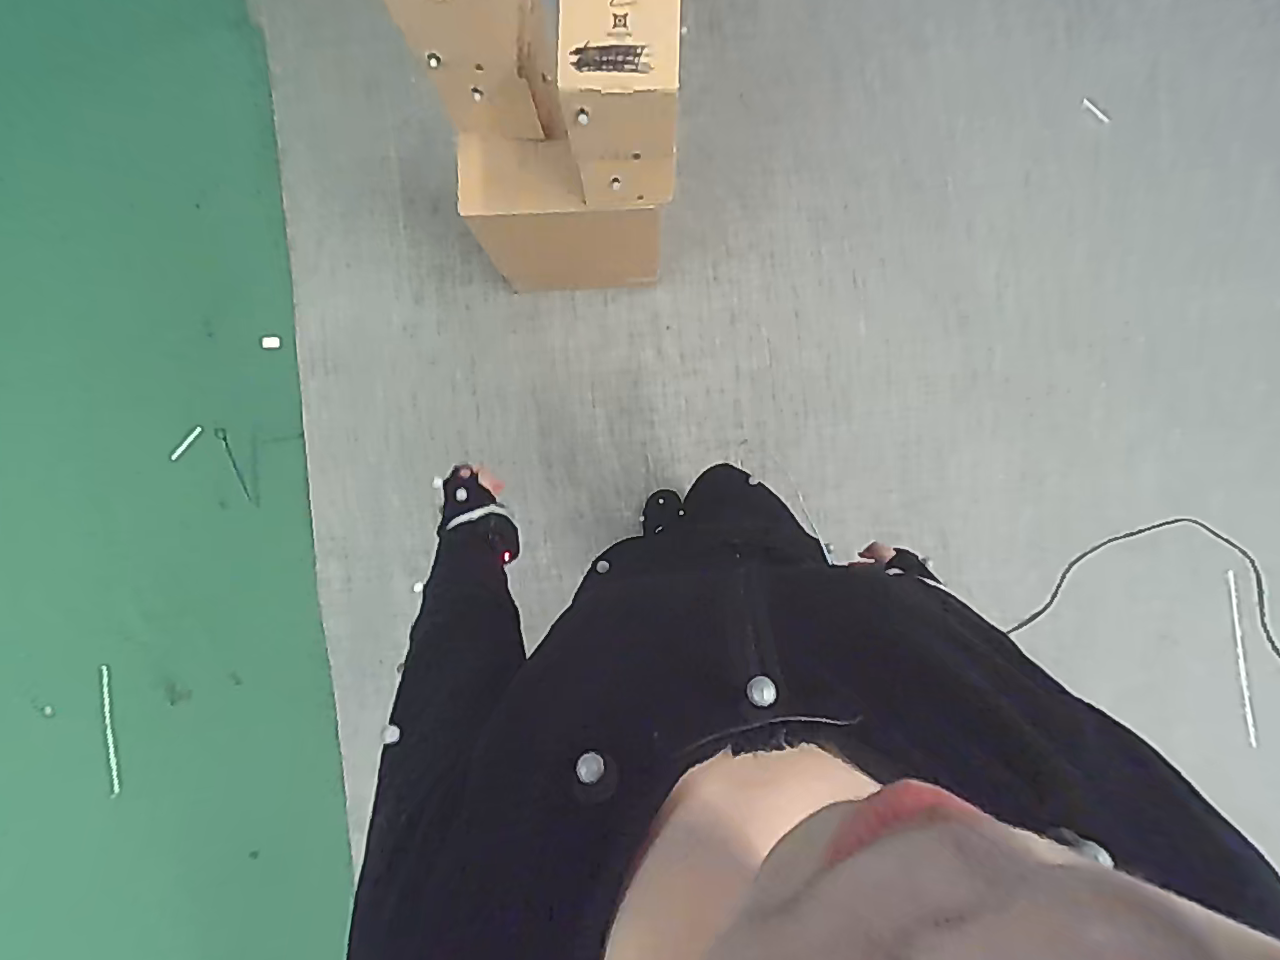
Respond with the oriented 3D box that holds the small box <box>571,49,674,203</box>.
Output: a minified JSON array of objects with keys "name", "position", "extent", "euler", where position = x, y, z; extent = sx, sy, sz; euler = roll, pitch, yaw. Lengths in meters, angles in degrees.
[{"name":"small box","position":[-0.027,-0.621,0.975],"extent":[0.168,0.176,0.179],"euler":[-4,89,1]}]

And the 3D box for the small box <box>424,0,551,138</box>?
[{"name":"small box","position":[-0.267,-0.755,0.982],"extent":[0.179,0.176,0.168],"euler":[4,90,0]}]

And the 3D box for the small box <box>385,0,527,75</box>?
[{"name":"small box","position":[-0.274,-0.759,0.817],"extent":[0.168,0.176,0.179],"euler":[6,88,1]}]
